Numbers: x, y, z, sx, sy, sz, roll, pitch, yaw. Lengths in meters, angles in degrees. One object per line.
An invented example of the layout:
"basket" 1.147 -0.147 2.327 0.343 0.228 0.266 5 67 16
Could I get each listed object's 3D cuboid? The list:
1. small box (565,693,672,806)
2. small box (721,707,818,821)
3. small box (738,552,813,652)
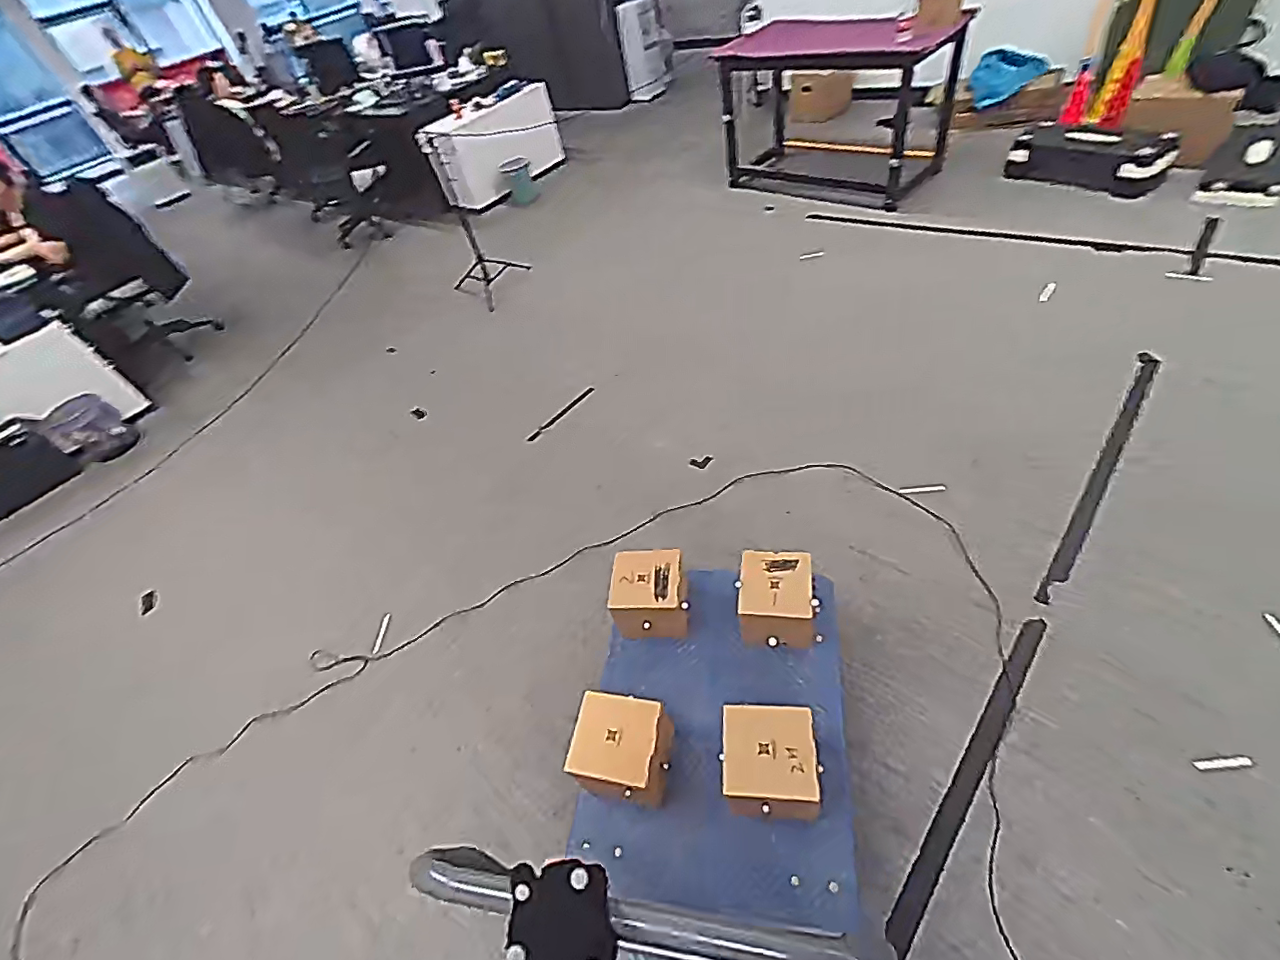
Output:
"small box" -0.038 0.584 1.168 0.179 0.176 0.168 2 49 16
"small box" 0.262 0.574 1.092 0.179 0.176 0.168 -3 48 13
"small box" 0.334 0.297 1.325 0.168 0.176 0.179 0 50 16
